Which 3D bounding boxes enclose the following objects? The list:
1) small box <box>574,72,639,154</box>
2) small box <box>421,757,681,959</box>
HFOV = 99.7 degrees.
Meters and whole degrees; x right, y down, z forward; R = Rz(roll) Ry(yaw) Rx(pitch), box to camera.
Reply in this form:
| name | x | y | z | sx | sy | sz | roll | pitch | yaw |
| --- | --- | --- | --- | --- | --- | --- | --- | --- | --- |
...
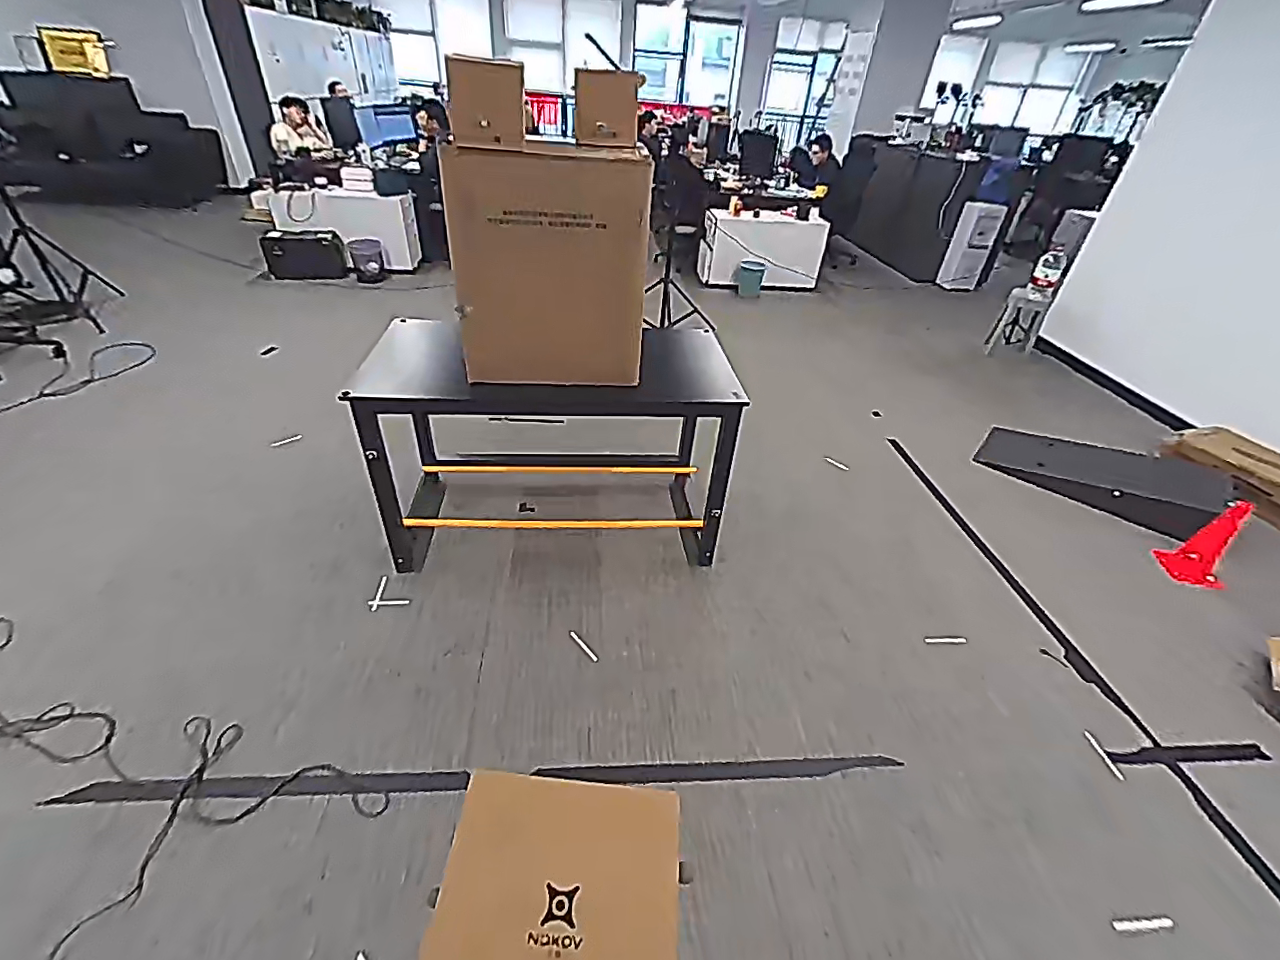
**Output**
| name | x | y | z | sx | sy | sz | roll | pitch | yaw |
| --- | --- | --- | --- | --- | --- | --- | --- | --- | --- |
| small box | -0.091 | -0.997 | 1.471 | 0.168 | 0.176 | 0.179 | -1 | 36 | -3 |
| small box | -0.062 | 0.348 | 0.423 | 0.168 | 0.176 | 0.179 | 6 | 43 | 0 |
